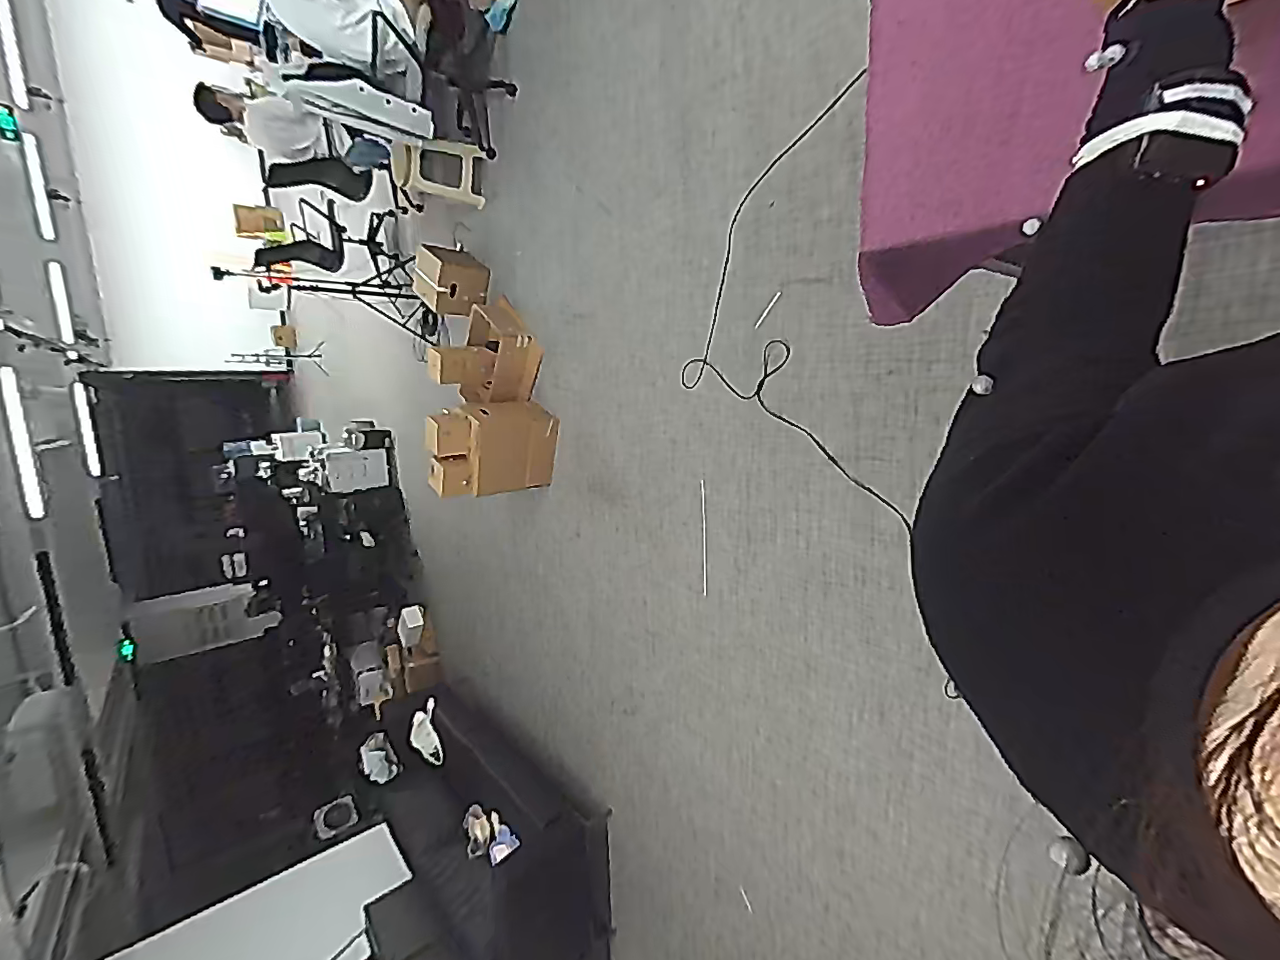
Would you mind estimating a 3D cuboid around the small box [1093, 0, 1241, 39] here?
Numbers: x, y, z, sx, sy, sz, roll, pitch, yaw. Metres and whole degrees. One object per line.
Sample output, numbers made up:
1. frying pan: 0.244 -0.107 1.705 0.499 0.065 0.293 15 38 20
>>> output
1. small box: 0.476 -0.514 0.435 0.168 0.176 0.179 15 109 50
